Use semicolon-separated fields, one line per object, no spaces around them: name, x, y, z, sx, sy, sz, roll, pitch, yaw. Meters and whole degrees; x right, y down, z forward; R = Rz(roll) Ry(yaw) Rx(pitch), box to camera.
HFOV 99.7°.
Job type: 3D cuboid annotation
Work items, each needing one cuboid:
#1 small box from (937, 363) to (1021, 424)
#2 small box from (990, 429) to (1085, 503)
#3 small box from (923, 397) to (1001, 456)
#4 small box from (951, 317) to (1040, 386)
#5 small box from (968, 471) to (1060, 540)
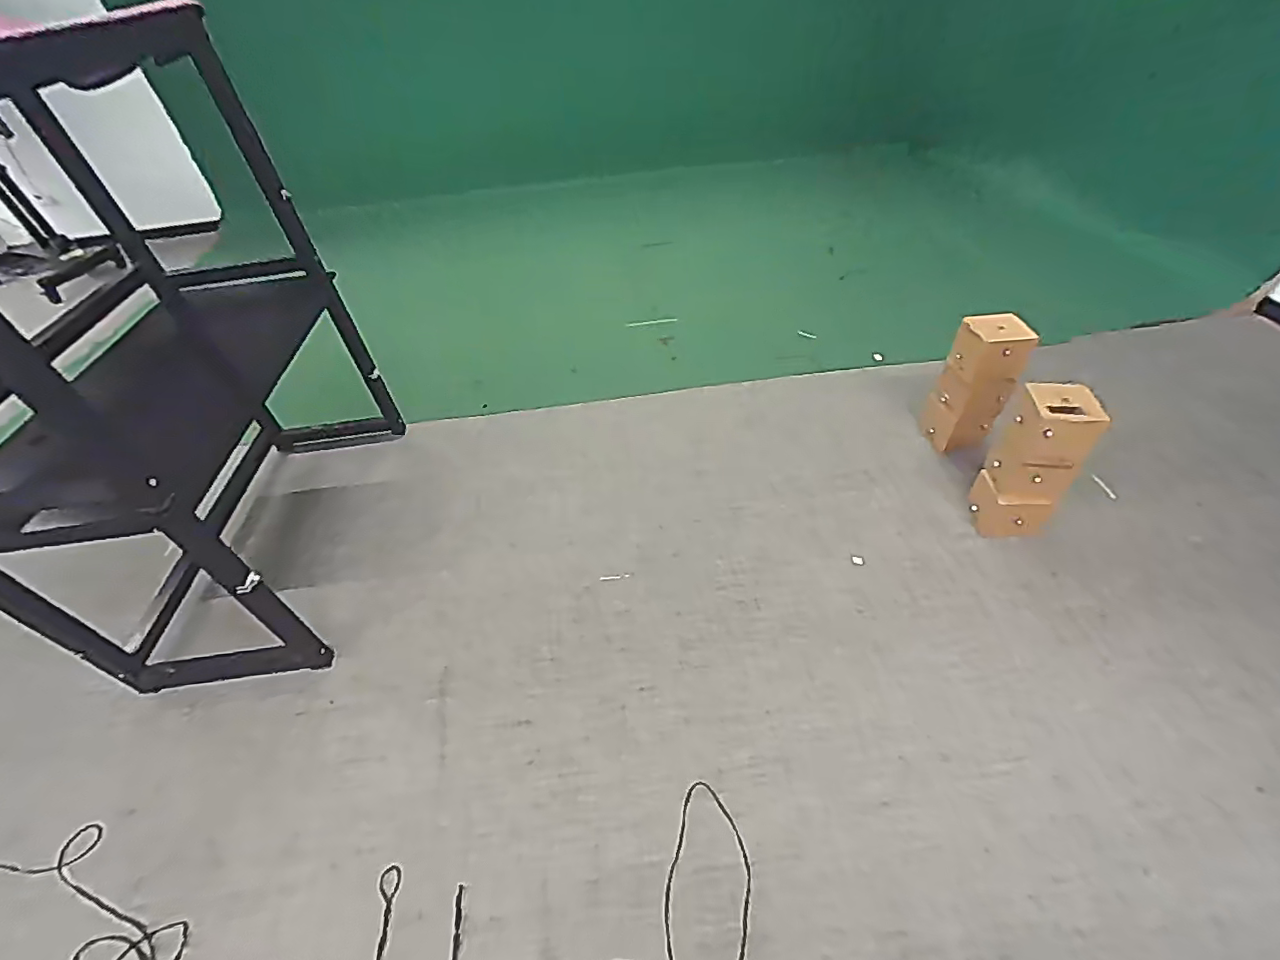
small box;1.232;-0.326;1.979;0.179;0.176;0.168;-10;44;-3
small box;1.229;-0.042;1.692;0.179;0.176;0.168;3;45;10
small box;1.239;-0.215;2.097;0.179;0.176;0.168;-9;44;-4
small box;1.216;-0.441;1.865;0.179;0.176;0.168;-5;44;1
small box;1.231;0.087;1.794;0.179;0.176;0.168;0;45;7
